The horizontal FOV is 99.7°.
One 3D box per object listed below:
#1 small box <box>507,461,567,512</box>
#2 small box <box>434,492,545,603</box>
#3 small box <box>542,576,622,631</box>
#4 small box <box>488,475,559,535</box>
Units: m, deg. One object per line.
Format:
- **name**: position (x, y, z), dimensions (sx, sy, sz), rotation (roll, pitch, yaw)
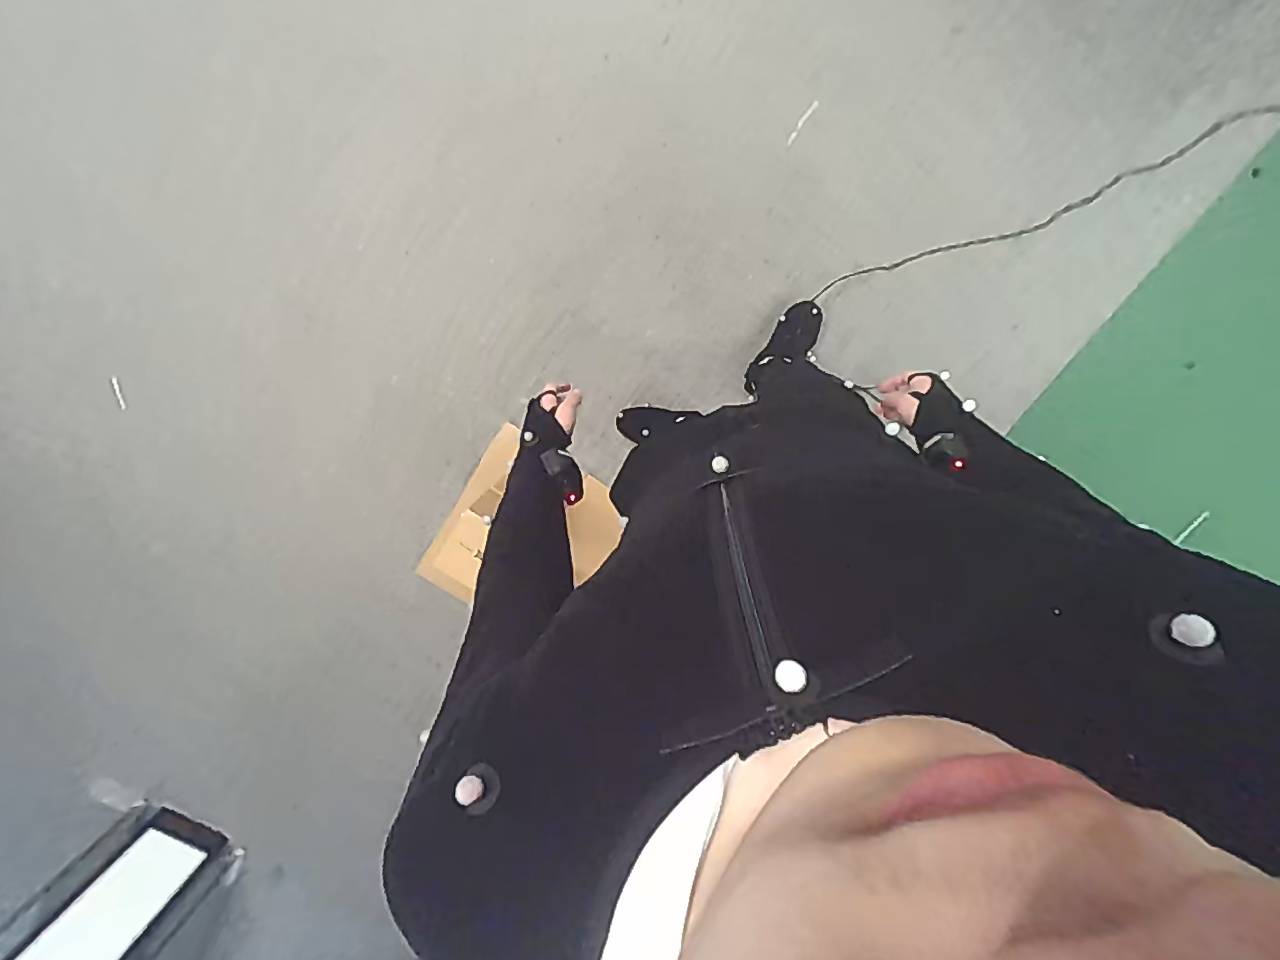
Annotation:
- **small box**: position (-0.336, 0.065, 1.597), dimensions (0.179, 0.176, 0.168), rotation (34, 104, -7)
- **small box**: position (-0.346, 0.150, 1.282), dimensions (0.179, 0.176, 0.168), rotation (33, 103, -8)
- **small box**: position (-0.176, 0.425, 1.690), dimensions (0.179, 0.176, 0.168), rotation (41, 104, -9)
- **small box**: position (-0.337, 0.103, 1.440), dimensions (0.179, 0.176, 0.168), rotation (33, 103, -8)
